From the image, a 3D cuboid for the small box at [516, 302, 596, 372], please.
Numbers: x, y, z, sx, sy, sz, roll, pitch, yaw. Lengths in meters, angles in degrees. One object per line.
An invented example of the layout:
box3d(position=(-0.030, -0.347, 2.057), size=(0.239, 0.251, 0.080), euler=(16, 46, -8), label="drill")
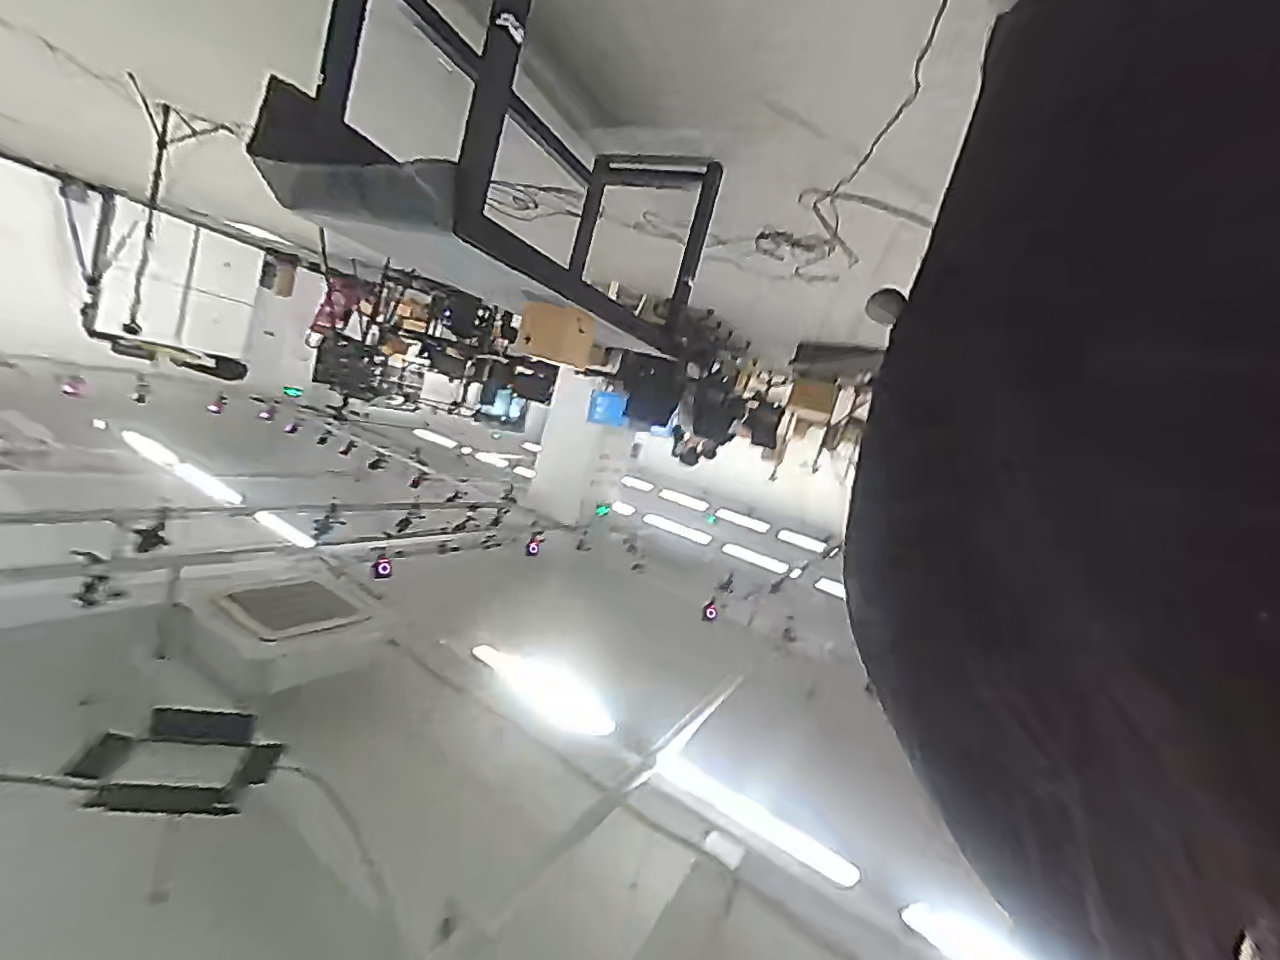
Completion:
box3d(position=(-0.266, -0.463, 1.743), size=(0.179, 0.176, 0.168), euler=(19, -172, 24), label="small box")
